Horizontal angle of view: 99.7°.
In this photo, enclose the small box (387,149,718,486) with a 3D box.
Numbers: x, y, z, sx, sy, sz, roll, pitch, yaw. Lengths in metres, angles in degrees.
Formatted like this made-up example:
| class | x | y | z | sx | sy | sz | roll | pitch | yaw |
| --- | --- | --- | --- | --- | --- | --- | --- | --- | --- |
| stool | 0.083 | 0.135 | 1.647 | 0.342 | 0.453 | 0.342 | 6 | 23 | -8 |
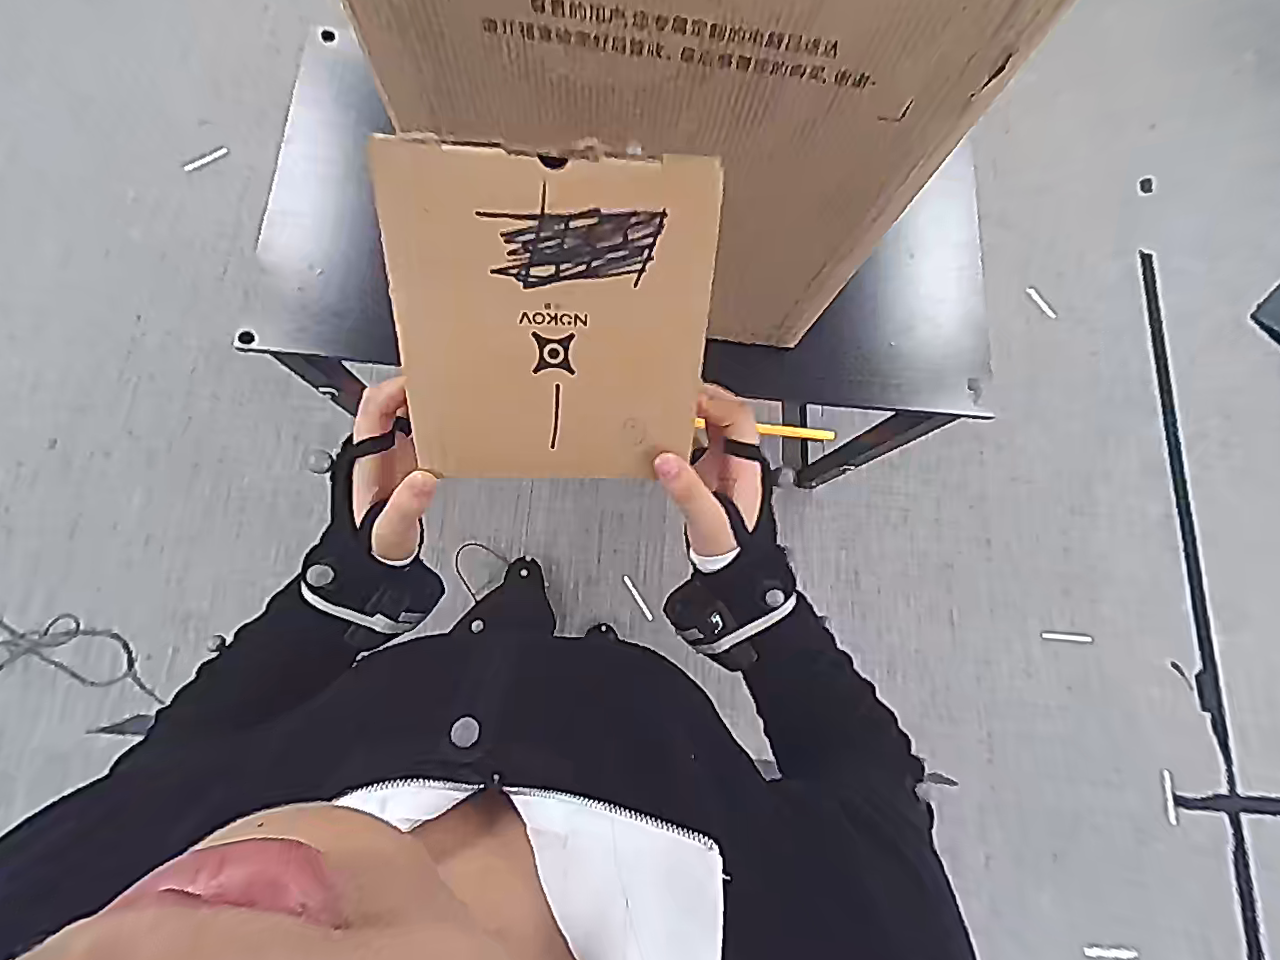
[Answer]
| class | x | y | z | sx | sy | sz | roll | pitch | yaw |
| --- | --- | --- | --- | --- | --- | --- | --- | --- | --- |
| small box | -0.056 | -0.111 | 0.371 | 0.168 | 0.176 | 0.179 | 1 | 117 | -7 |
